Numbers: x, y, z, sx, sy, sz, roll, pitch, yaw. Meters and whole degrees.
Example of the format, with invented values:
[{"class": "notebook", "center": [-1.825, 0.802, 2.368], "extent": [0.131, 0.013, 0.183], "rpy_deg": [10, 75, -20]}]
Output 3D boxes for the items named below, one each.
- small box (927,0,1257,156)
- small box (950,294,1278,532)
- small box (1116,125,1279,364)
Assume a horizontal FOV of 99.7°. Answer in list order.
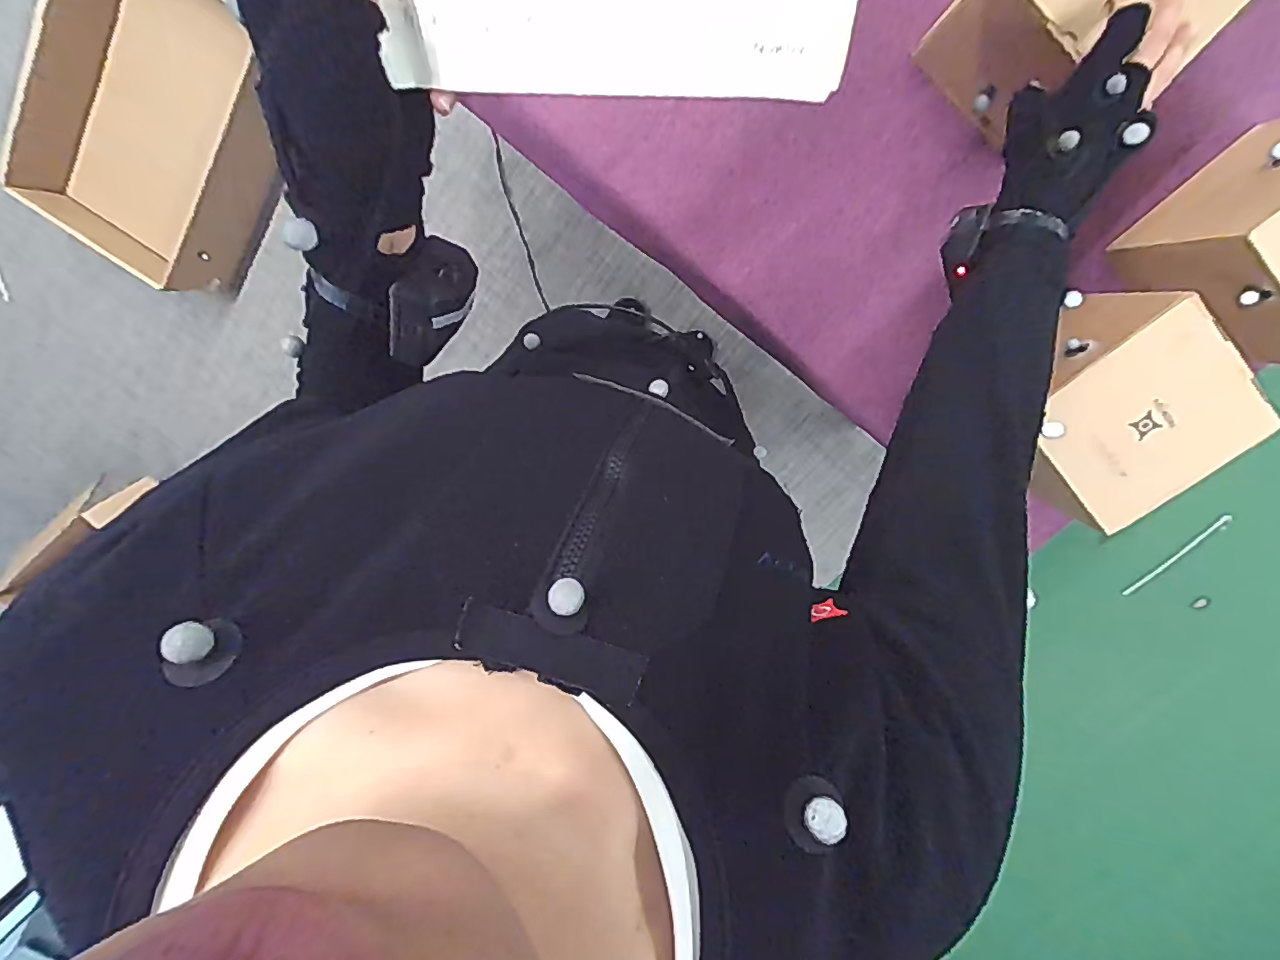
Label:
[{"class": "small box", "center": [0.399, -0.429, 0.473], "extent": [0.168, 0.176, 0.179], "rpy_deg": [39, 108, -9]}, {"class": "small box", "center": [0.489, -0.082, 0.590], "extent": [0.179, 0.176, 0.168], "rpy_deg": [-40, 101, 16]}, {"class": "small box", "center": [0.639, -0.235, 0.525], "extent": [0.168, 0.176, 0.179], "rpy_deg": [44, 105, -10]}]
